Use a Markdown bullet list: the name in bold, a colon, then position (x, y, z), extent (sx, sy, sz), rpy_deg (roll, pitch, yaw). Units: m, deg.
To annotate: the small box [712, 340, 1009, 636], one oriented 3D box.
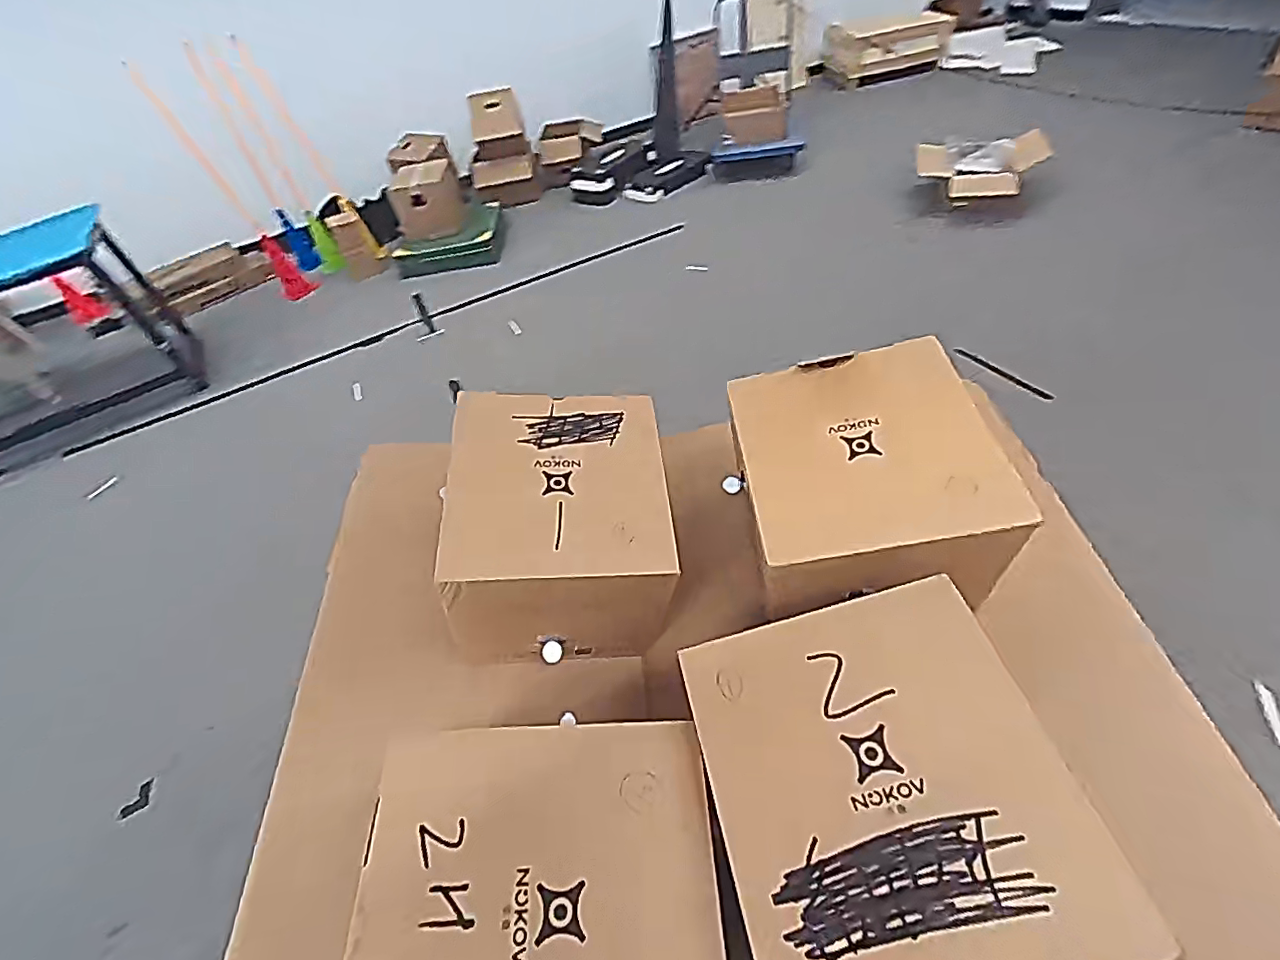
- **small box**: position (0.163, 0.018, 0.455), extent (0.168, 0.176, 0.179), rpy_deg (-12, 51, 8)
